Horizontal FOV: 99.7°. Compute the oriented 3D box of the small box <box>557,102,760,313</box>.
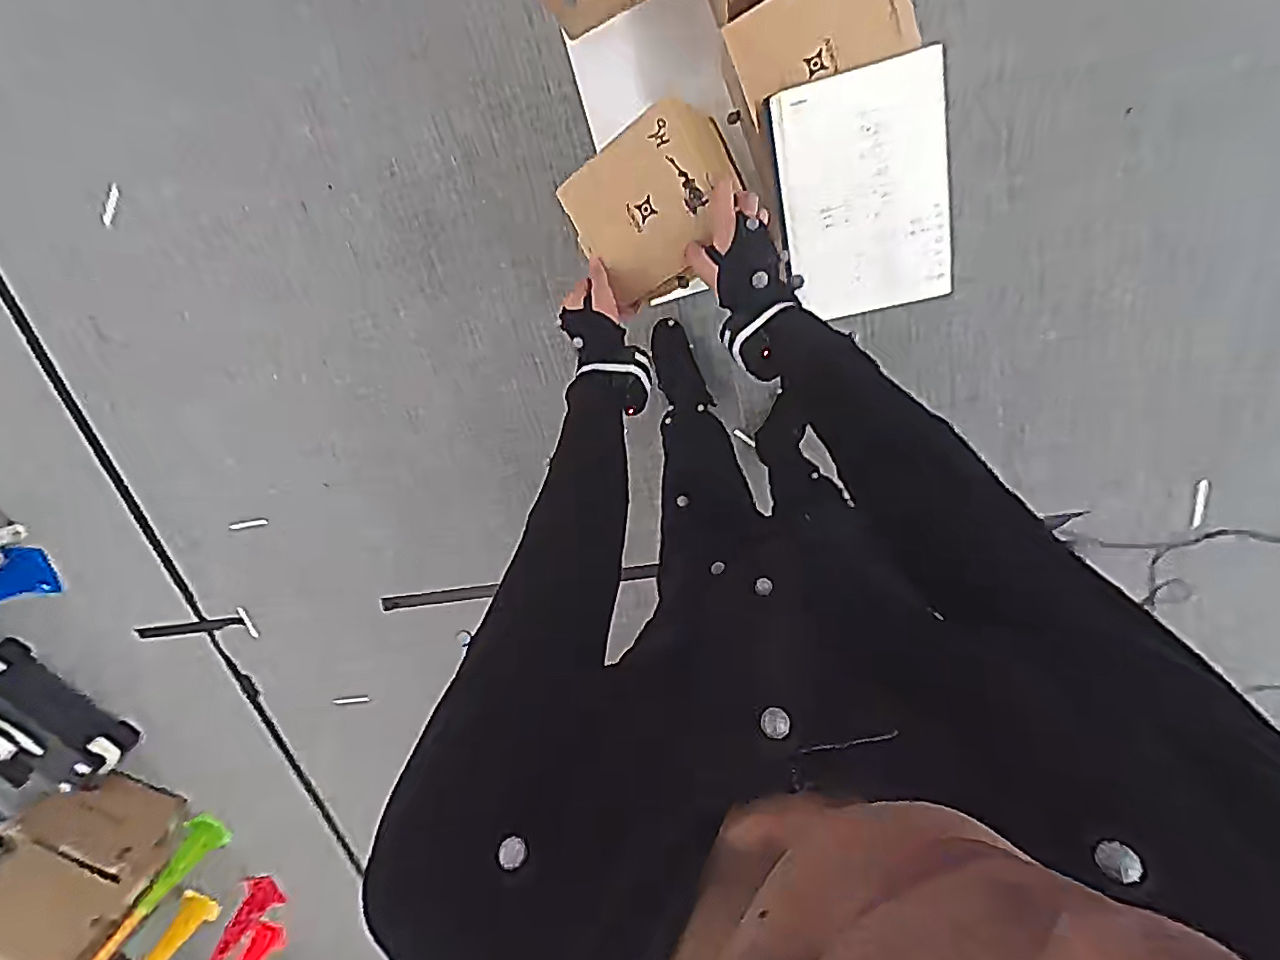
[{"bbox_3d":[0.032,-0.341,0.704,0.179,0.176,0.168,-23,102,33],"label":"small box"}]
